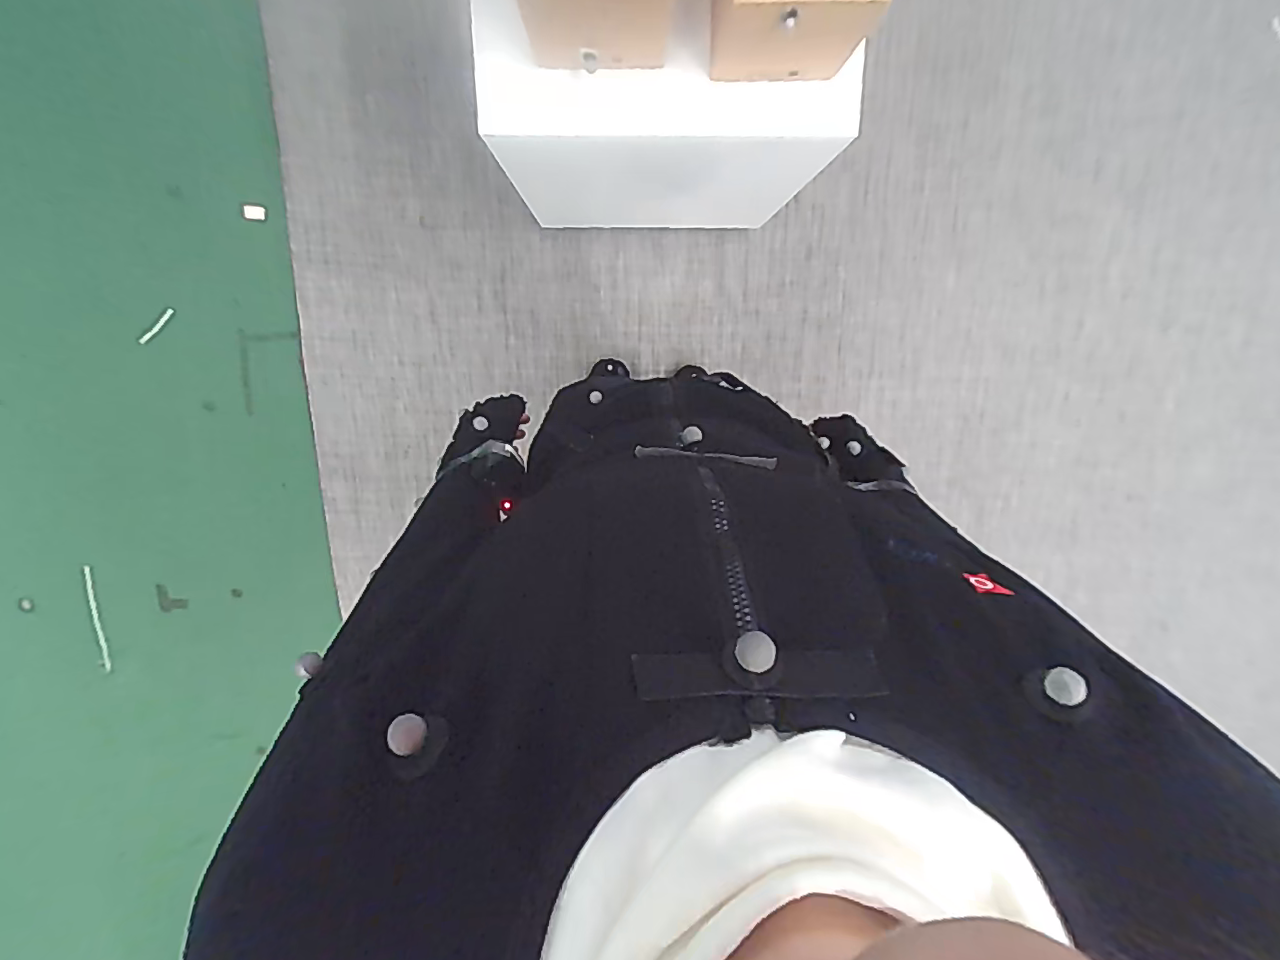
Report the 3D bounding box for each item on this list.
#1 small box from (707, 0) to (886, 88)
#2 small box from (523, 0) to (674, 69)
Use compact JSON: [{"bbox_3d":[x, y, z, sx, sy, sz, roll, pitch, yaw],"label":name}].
[{"bbox_3d":[0.170,-0.589,0.615,0.168,0.176,0.179,0,102,-1],"label":"small box"},{"bbox_3d":[-0.049,-0.596,0.596,0.168,0.176,0.179,-2,104,0],"label":"small box"}]
